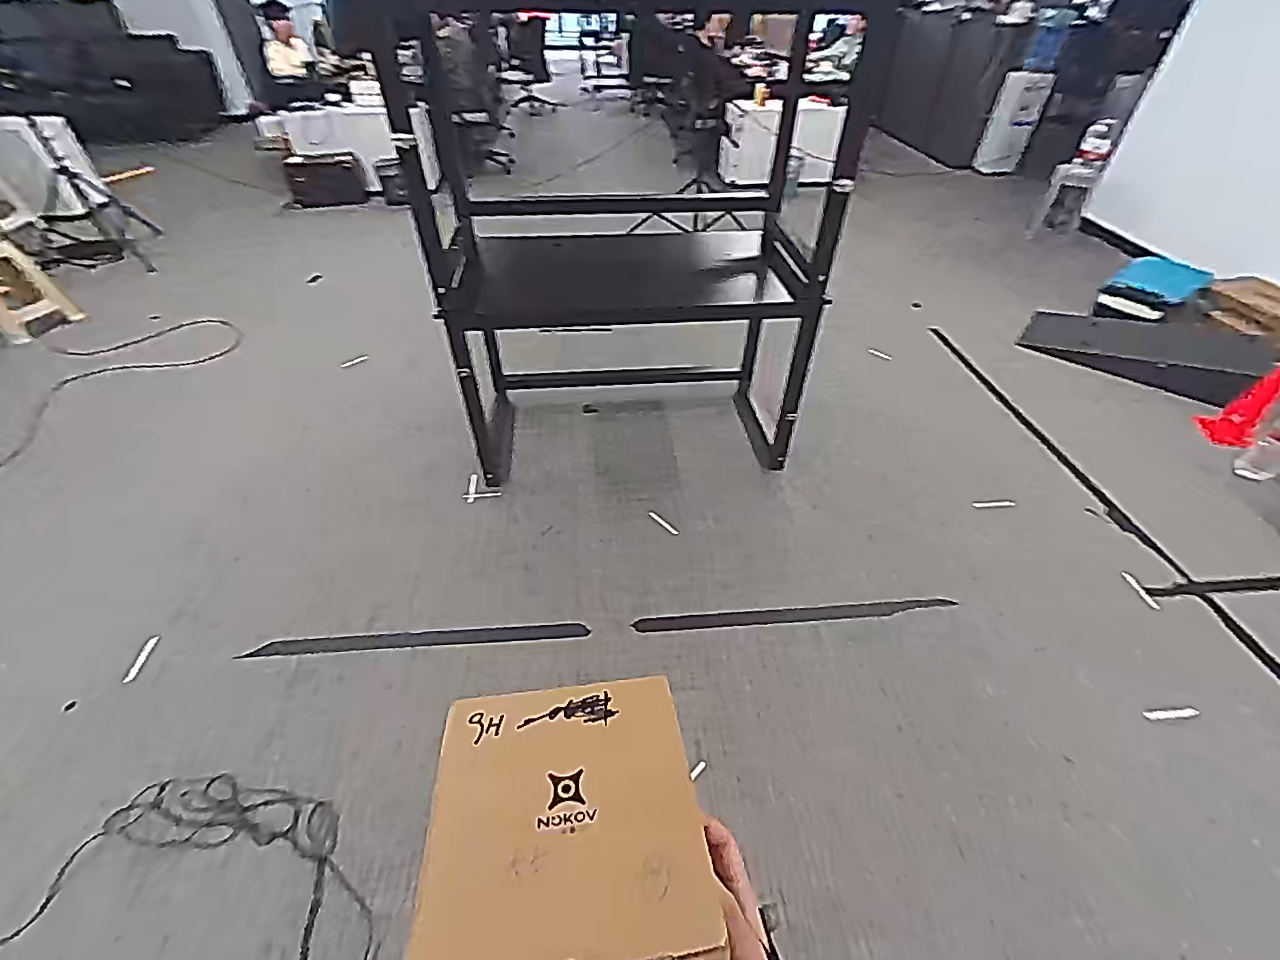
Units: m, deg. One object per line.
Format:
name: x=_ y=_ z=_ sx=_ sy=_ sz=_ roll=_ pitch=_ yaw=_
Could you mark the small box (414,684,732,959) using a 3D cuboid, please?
small box: x=-0.043 y=0.275 z=0.376 sx=0.168 sy=0.176 sz=0.179 roll=-3 pitch=32 yaw=-7
